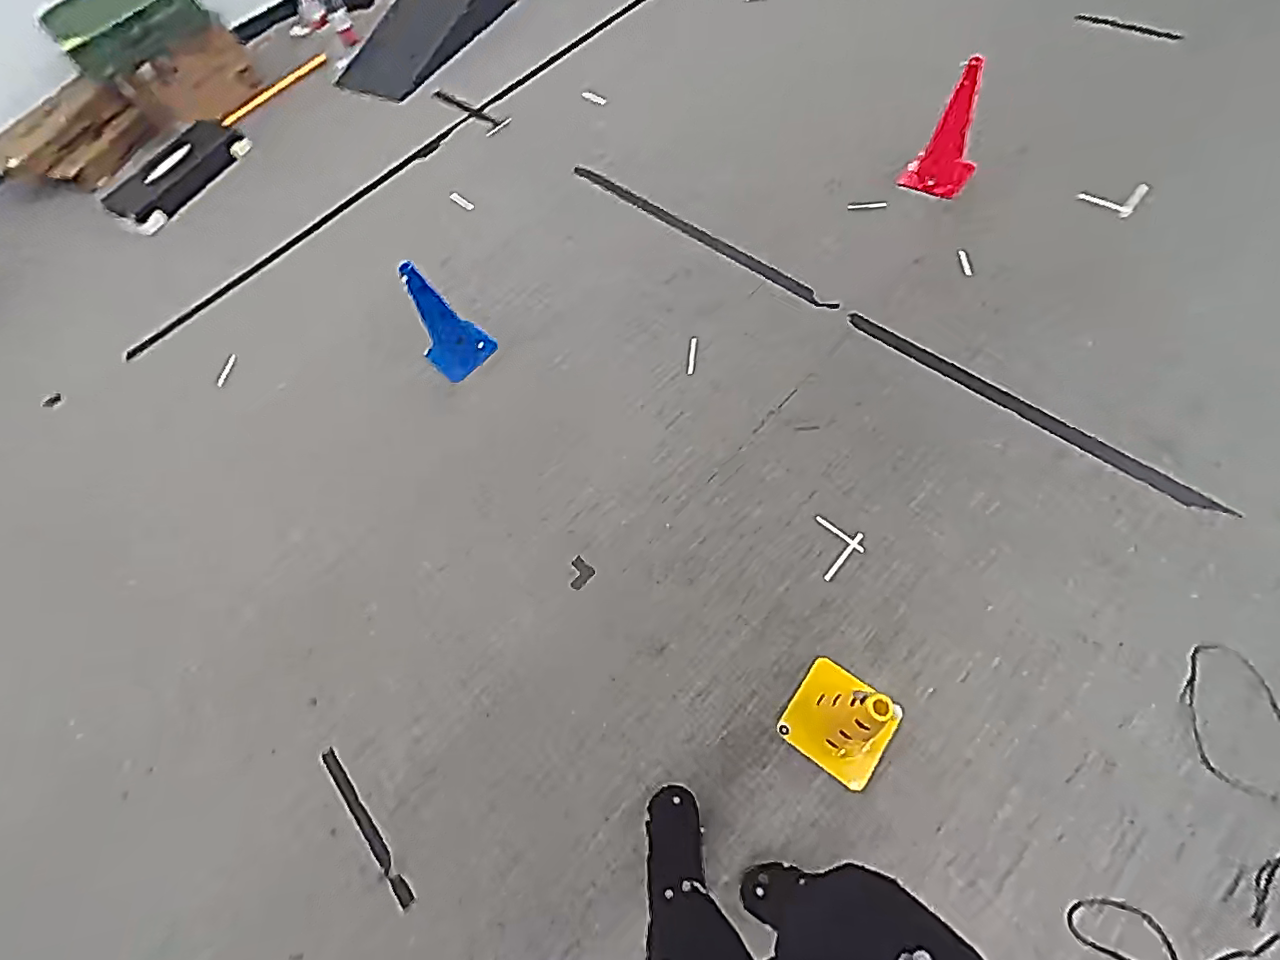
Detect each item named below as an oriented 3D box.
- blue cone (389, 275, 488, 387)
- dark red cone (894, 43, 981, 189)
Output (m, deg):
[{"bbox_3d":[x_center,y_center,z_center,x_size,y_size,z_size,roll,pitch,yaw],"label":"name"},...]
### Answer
[{"bbox_3d":[-0.645,-0.482,1.669,0.193,0.380,0.192,39,76,25],"label":"blue cone"},{"bbox_3d":[0.981,-1.154,1.715,0.202,0.394,0.201,31,72,22],"label":"dark red cone"}]
